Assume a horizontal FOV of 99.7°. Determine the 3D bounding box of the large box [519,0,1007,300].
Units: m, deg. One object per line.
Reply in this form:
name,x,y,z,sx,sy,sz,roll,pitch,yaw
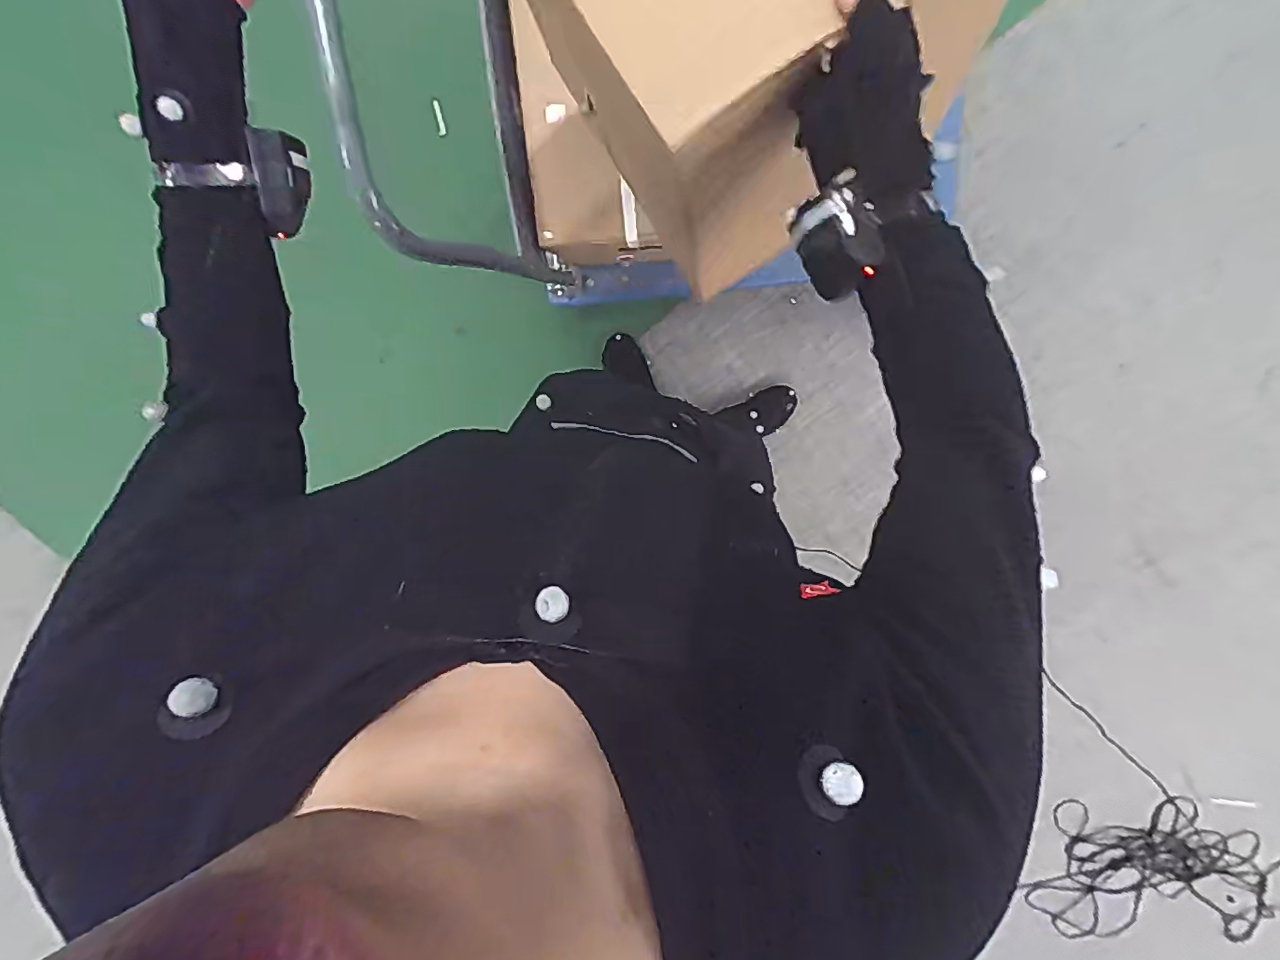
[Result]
large box,0.082,-0.469,0.536,0.320,0.320,0.408,-33,83,8
